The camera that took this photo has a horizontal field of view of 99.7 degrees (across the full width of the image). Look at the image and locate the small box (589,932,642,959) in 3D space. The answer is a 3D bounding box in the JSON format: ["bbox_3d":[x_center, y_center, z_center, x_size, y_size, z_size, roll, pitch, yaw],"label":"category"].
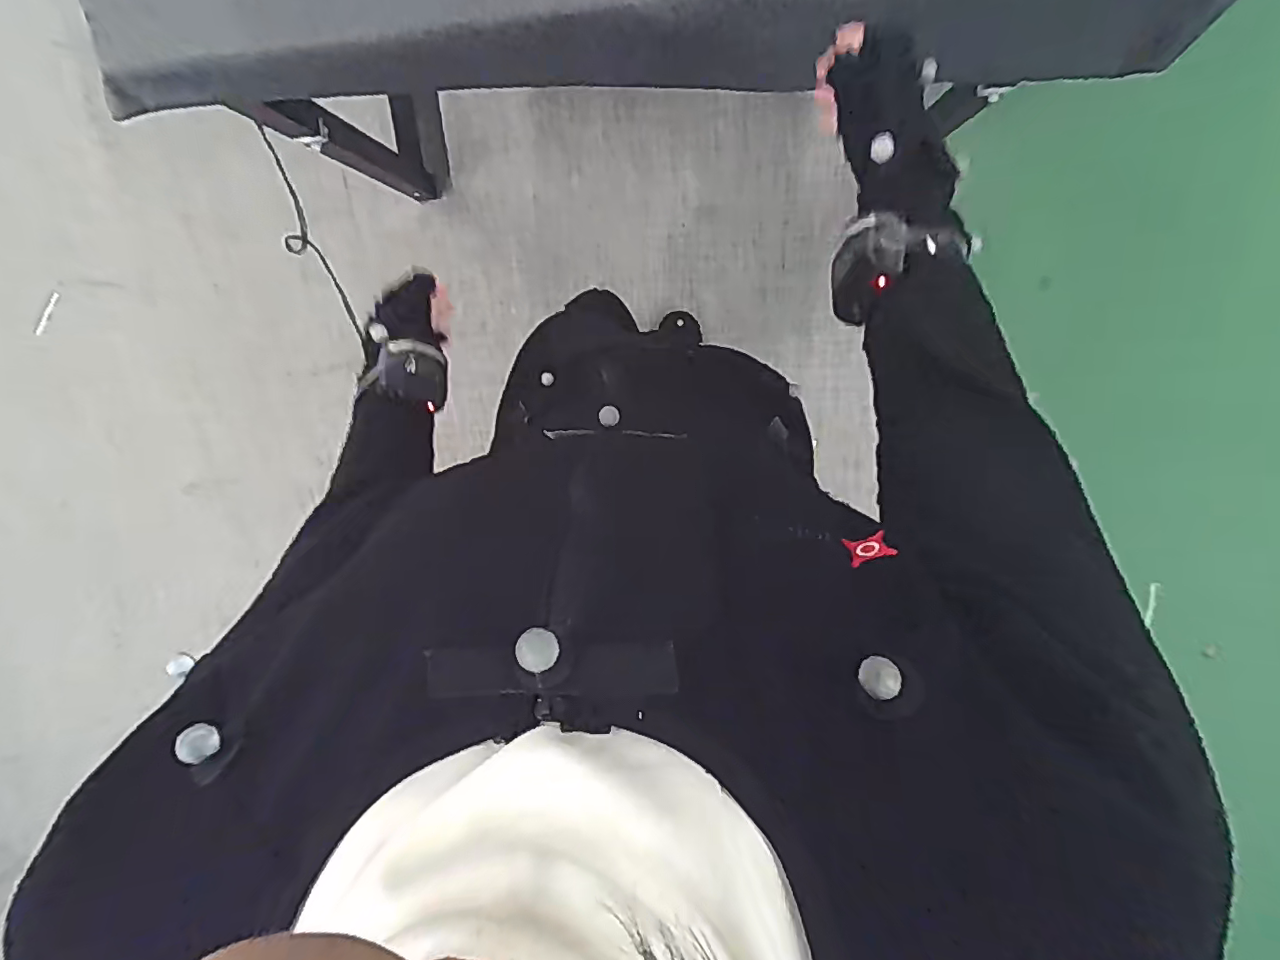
[{"bbox_3d":[-0.090,1.712,1.868,0.179,0.176,0.168,2,106,4],"label":"small box"}]
